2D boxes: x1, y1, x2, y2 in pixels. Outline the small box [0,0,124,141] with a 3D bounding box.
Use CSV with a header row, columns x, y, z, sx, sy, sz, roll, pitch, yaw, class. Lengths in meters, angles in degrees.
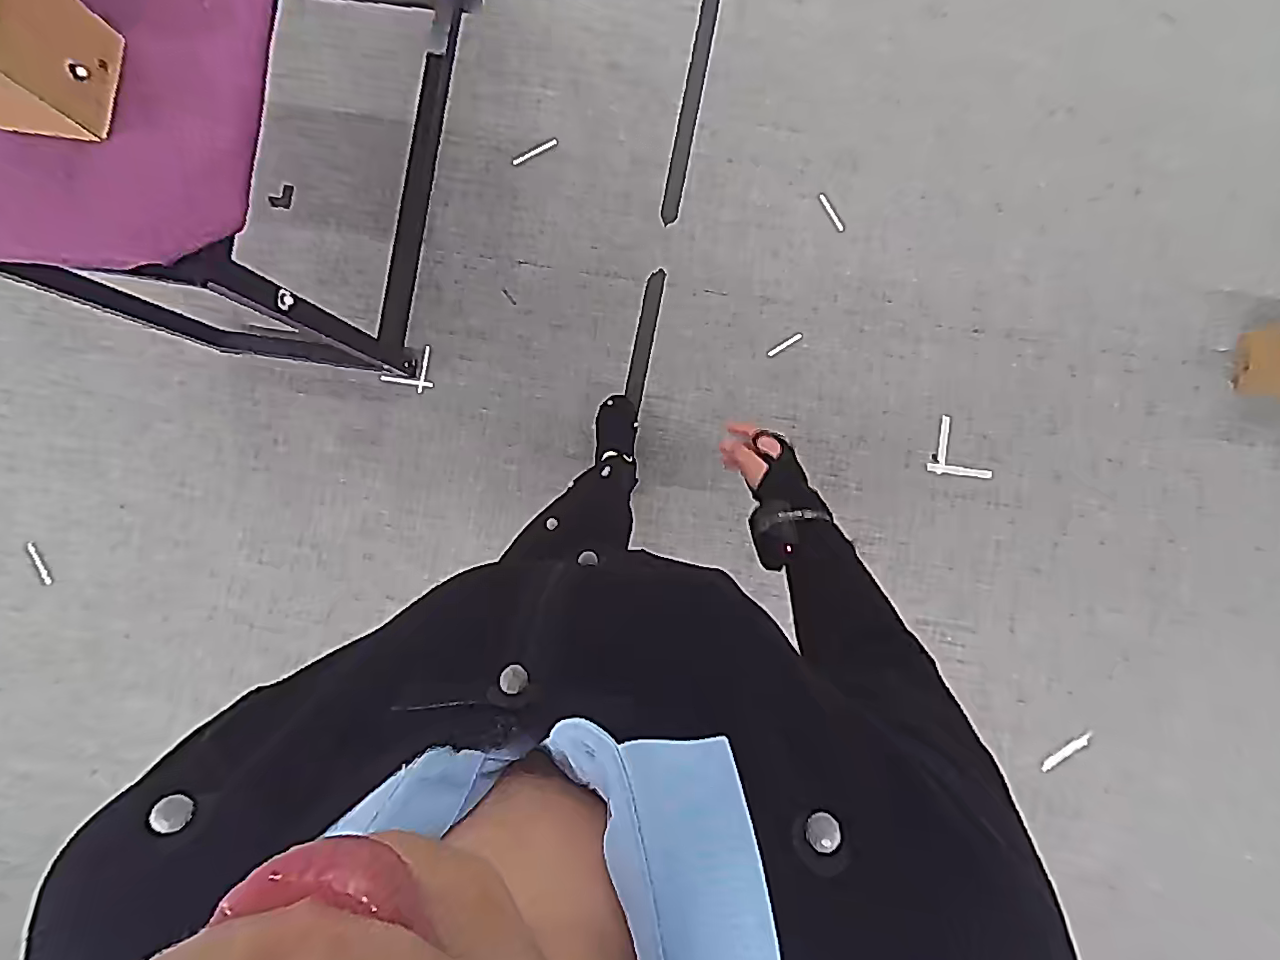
x,y,z,sx,sy,sz,roll,pitch,yaw,class
-0.891,-0.607,0.750,0.179,0.176,0.168,8,87,2,small box
